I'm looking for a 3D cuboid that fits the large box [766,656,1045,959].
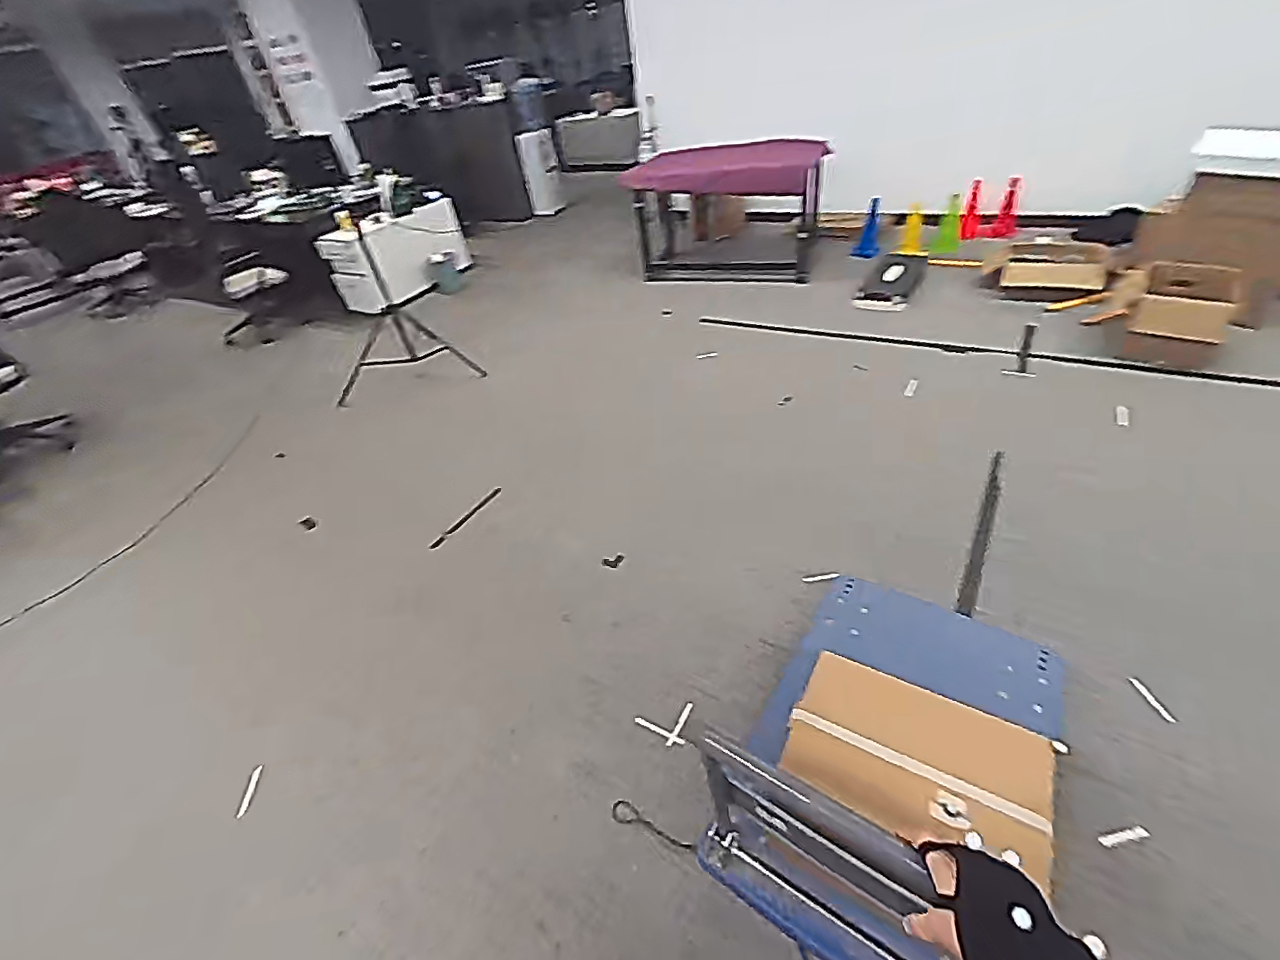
[{"bbox_3d":[0.487,0.617,1.045,0.408,0.320,0.320,16,47,27],"label":"large box"}]
